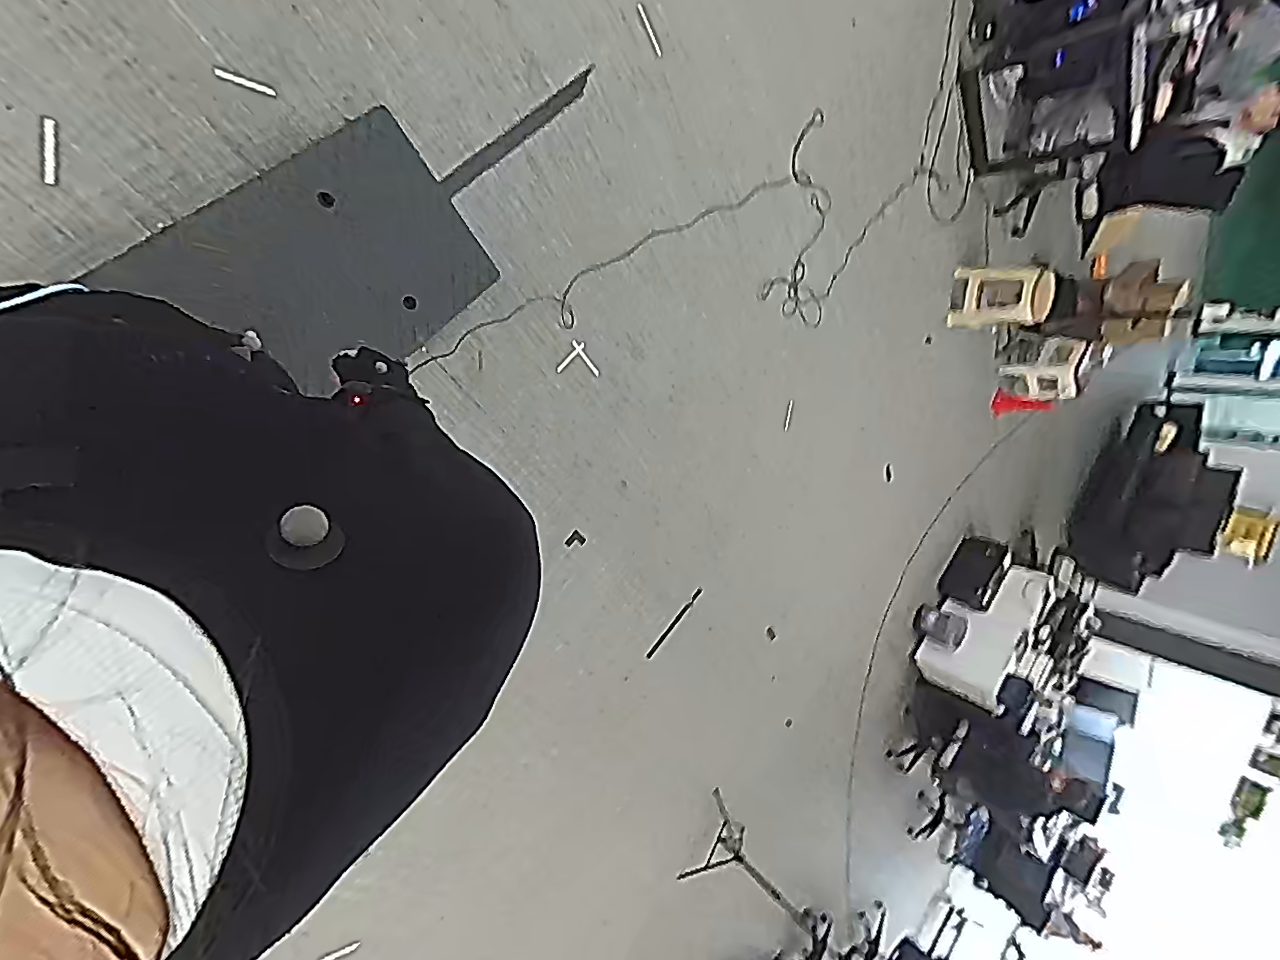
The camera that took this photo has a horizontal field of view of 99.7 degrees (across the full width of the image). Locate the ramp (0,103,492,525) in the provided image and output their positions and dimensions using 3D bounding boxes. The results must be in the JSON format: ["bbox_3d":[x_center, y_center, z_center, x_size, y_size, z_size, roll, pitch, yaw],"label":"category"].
[{"bbox_3d":[-0.813,-0.424,1.267,0.991,0.206,0.509,-50,126,-18],"label":"ramp"}]
